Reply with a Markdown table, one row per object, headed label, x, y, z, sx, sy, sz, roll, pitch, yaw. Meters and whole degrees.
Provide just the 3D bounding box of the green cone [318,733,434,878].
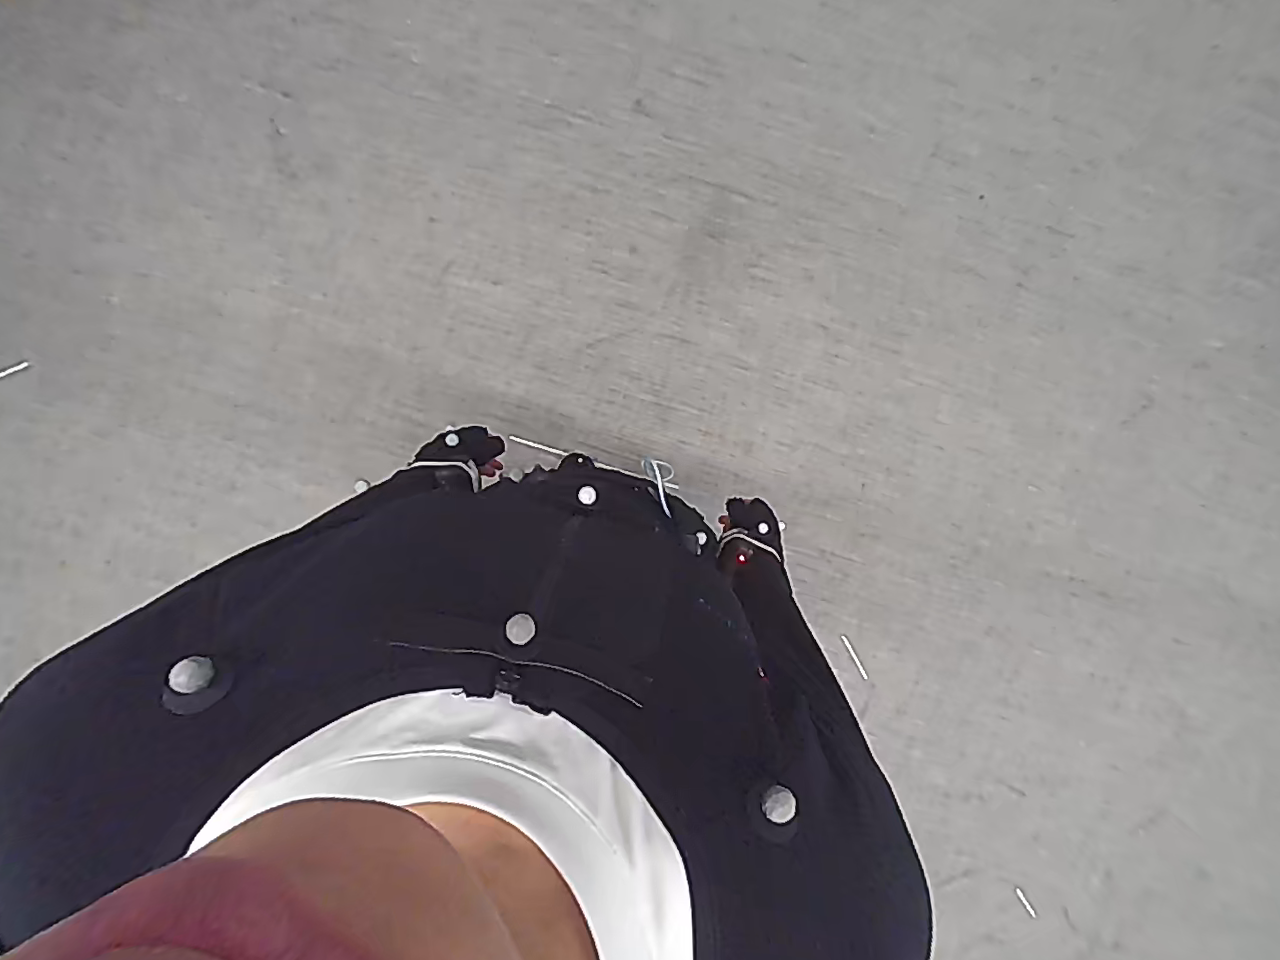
| label | x | y | z | sx | sy | sz | roll | pitch | yaw |
| --- | --- | --- | --- | --- | --- | --- | --- | --- | --- |
| green cone | -0.678 | 0.820 | 1.323 | 0.202 | 0.368 | 0.200 | 16 | 92 | -3 |
